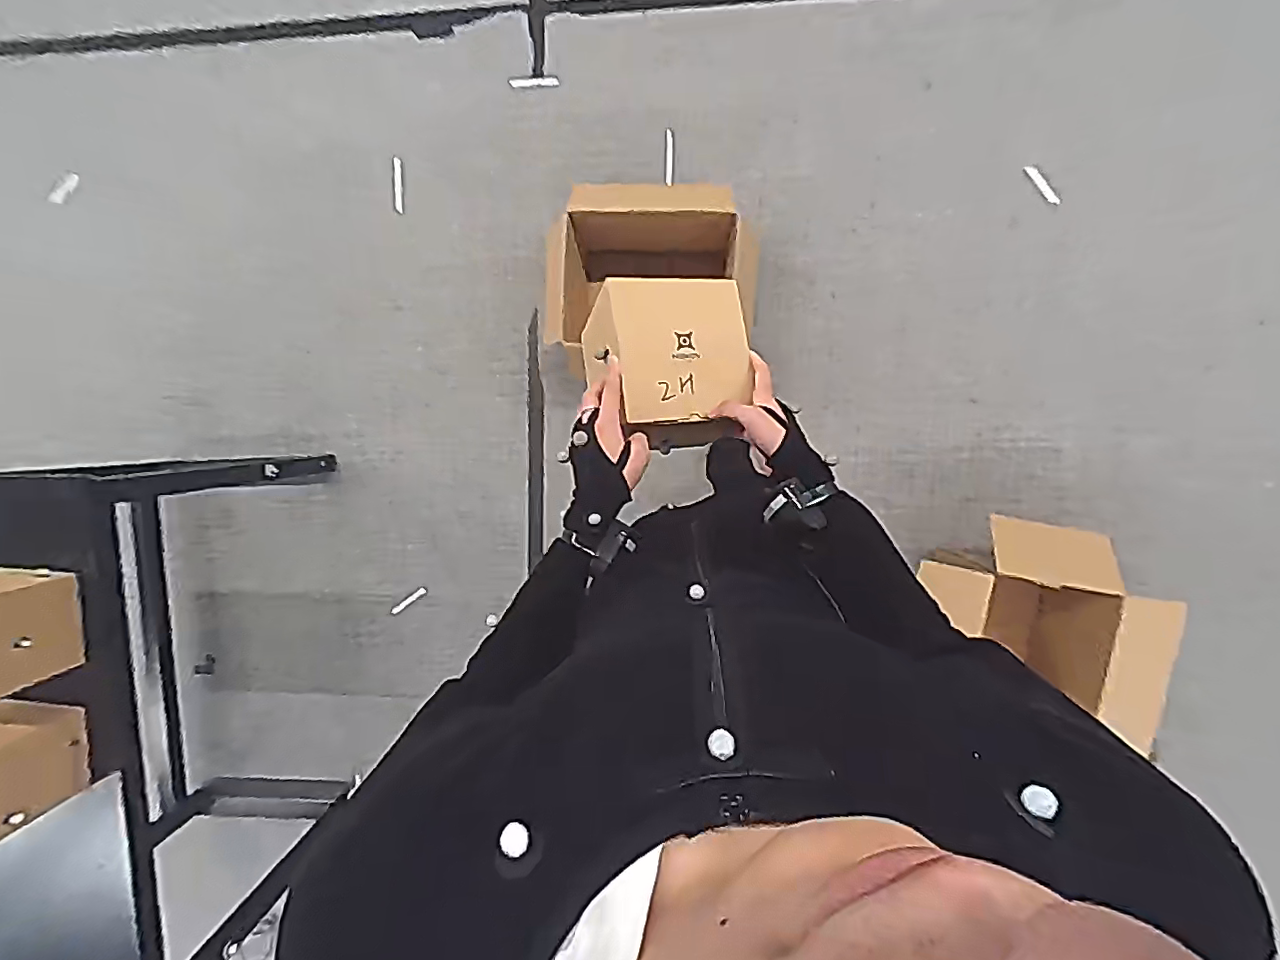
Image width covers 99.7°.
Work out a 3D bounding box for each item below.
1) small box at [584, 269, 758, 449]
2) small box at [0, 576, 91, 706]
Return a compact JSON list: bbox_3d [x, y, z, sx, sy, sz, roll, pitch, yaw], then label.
[{"bbox_3d":[0.028,-0.146,0.694,0.168,0.176,0.179,-5,83,-17],"label":"small box"},{"bbox_3d":[-1.113,0.272,0.933,0.168,0.176,0.179,2,97,6],"label":"small box"}]
